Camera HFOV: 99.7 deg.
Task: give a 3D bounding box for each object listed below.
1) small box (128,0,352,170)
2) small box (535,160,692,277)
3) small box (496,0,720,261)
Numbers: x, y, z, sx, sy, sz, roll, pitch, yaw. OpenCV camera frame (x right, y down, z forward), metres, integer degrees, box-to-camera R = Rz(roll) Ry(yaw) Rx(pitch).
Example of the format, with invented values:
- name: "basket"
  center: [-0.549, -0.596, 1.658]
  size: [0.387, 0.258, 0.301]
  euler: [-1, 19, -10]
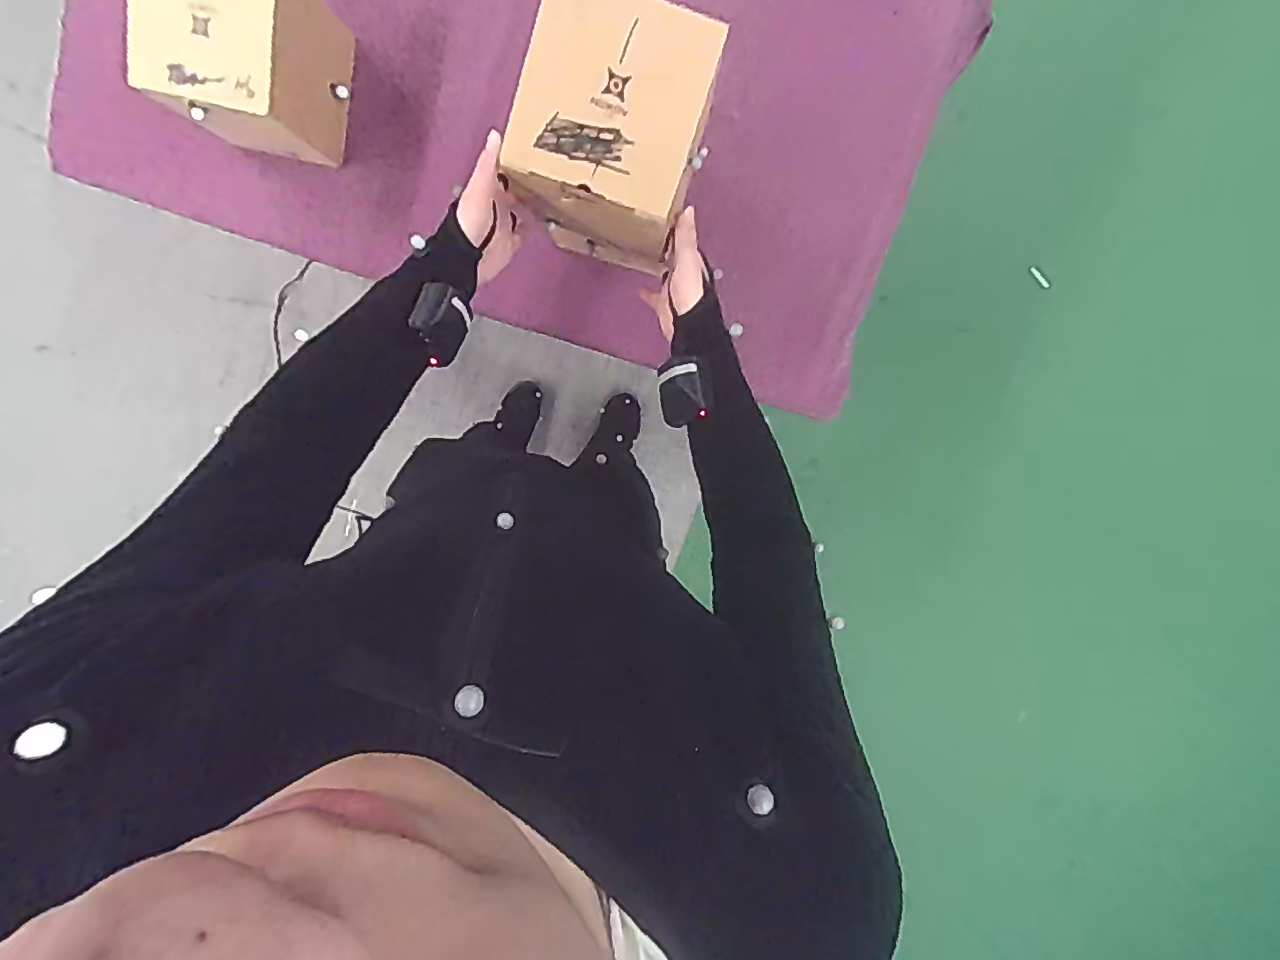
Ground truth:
- name: "small box"
  center: [-0.502, -0.540, 0.702]
  size: [0.168, 0.176, 0.179]
  euler: [12, 100, -2]
- name: "small box"
  center: [-0.027, -0.393, 0.731]
  size: [0.168, 0.176, 0.179]
  euler: [16, 99, -2]
- name: "small box"
  center: [-0.030, -0.356, 0.570]
  size: [0.168, 0.176, 0.179]
  euler: [19, 98, -3]
